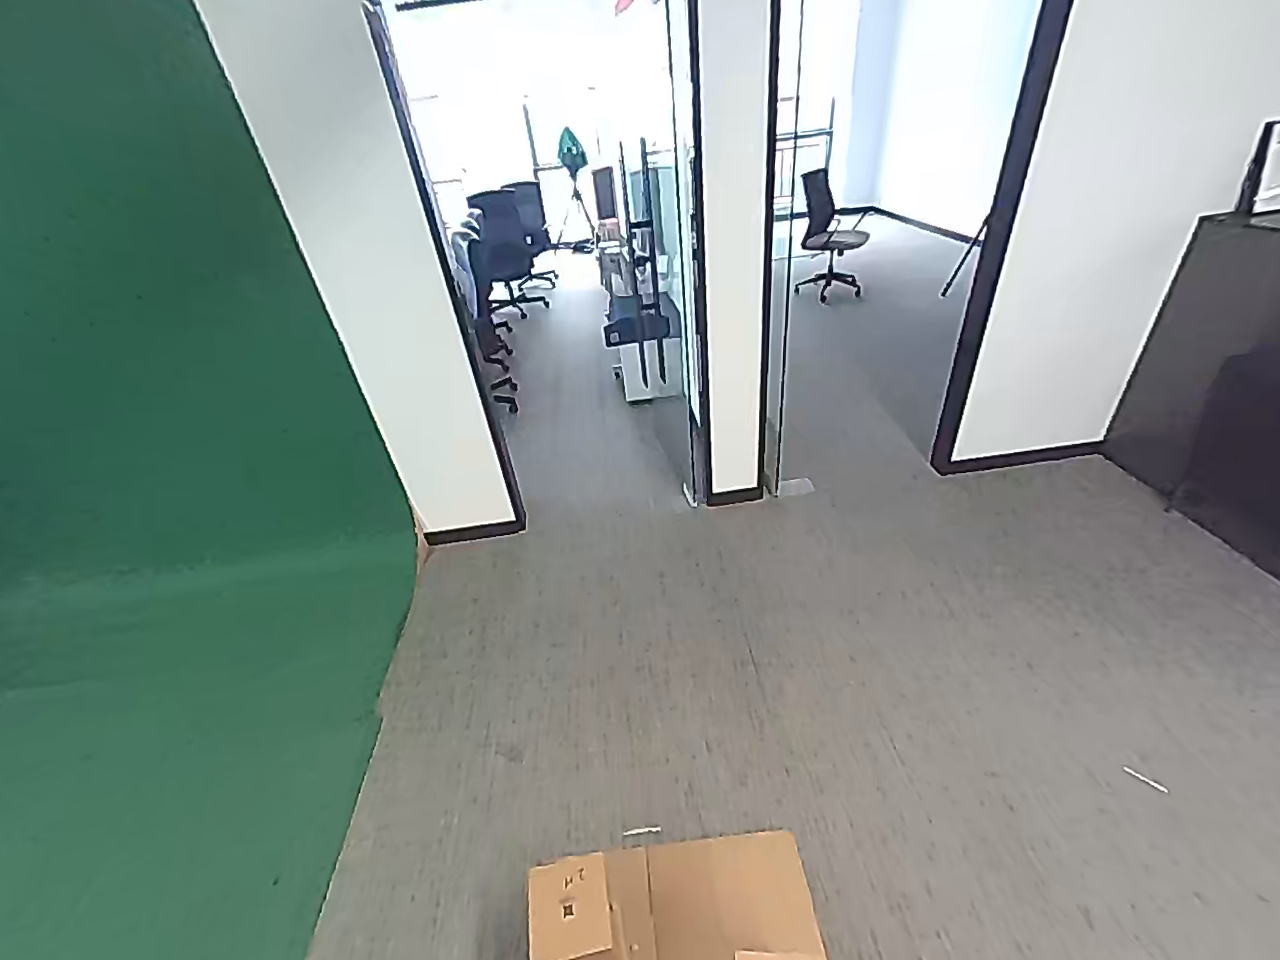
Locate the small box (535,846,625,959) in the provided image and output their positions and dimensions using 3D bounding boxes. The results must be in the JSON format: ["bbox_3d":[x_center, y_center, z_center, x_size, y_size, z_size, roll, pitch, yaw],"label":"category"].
[{"bbox_3d":[-0.129,0.935,1.165,0.168,0.176,0.179,-9,34,-5],"label":"small box"}]

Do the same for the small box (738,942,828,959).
[{"bbox_3d":[0.271,0.997,0.999,0.168,0.176,0.179,-2,34,7],"label":"small box"}]
